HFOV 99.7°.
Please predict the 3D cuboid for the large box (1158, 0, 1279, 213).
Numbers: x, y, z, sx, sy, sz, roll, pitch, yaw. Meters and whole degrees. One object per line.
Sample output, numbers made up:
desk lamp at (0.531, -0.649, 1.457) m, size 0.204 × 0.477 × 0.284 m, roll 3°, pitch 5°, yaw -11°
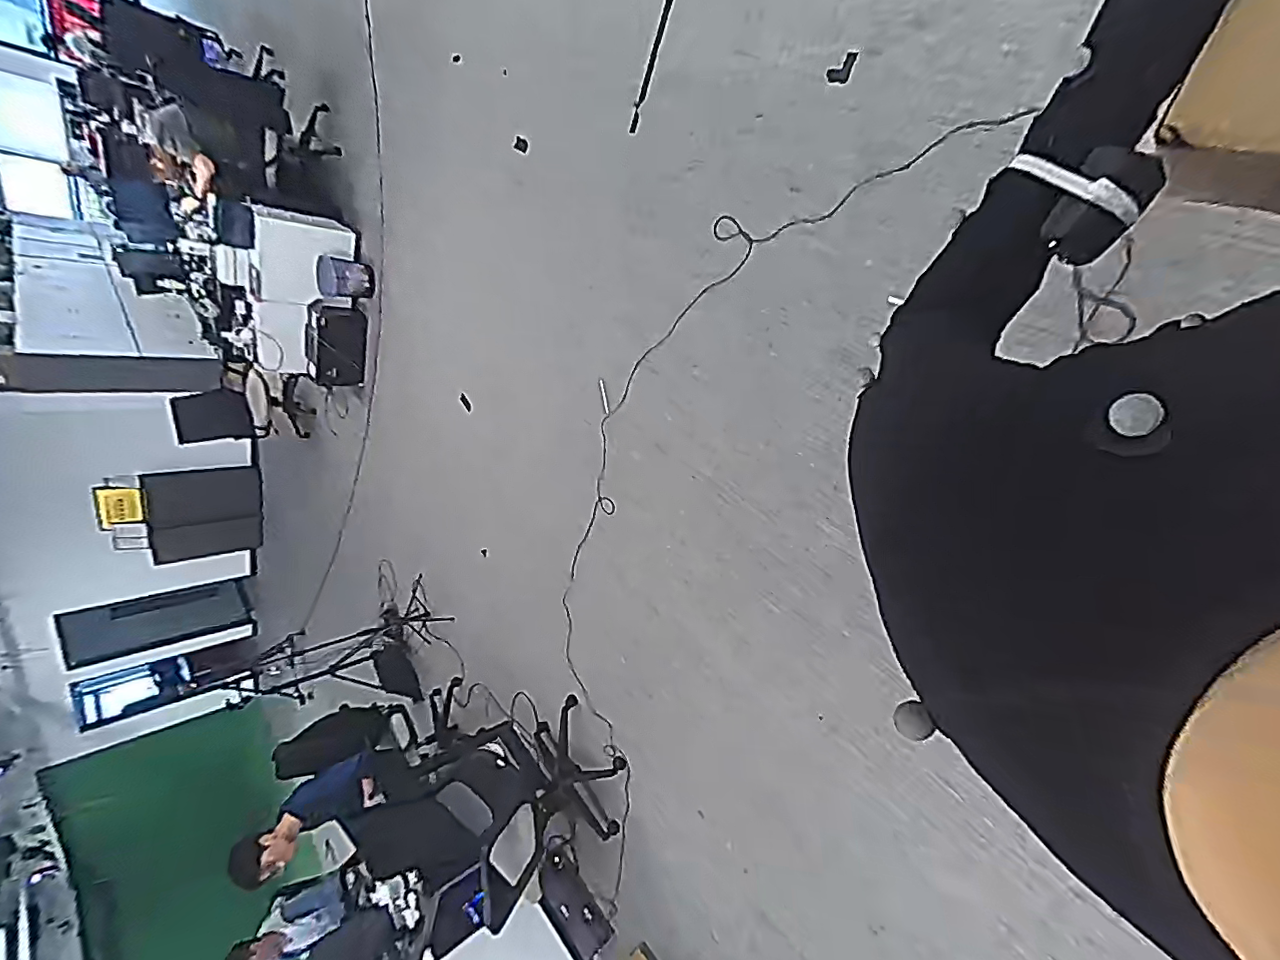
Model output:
large box at (0.613, -0.306, 0.287) m, size 0.408 × 0.320 × 0.320 m, roll 31°, pitch 125°, yaw 31°
